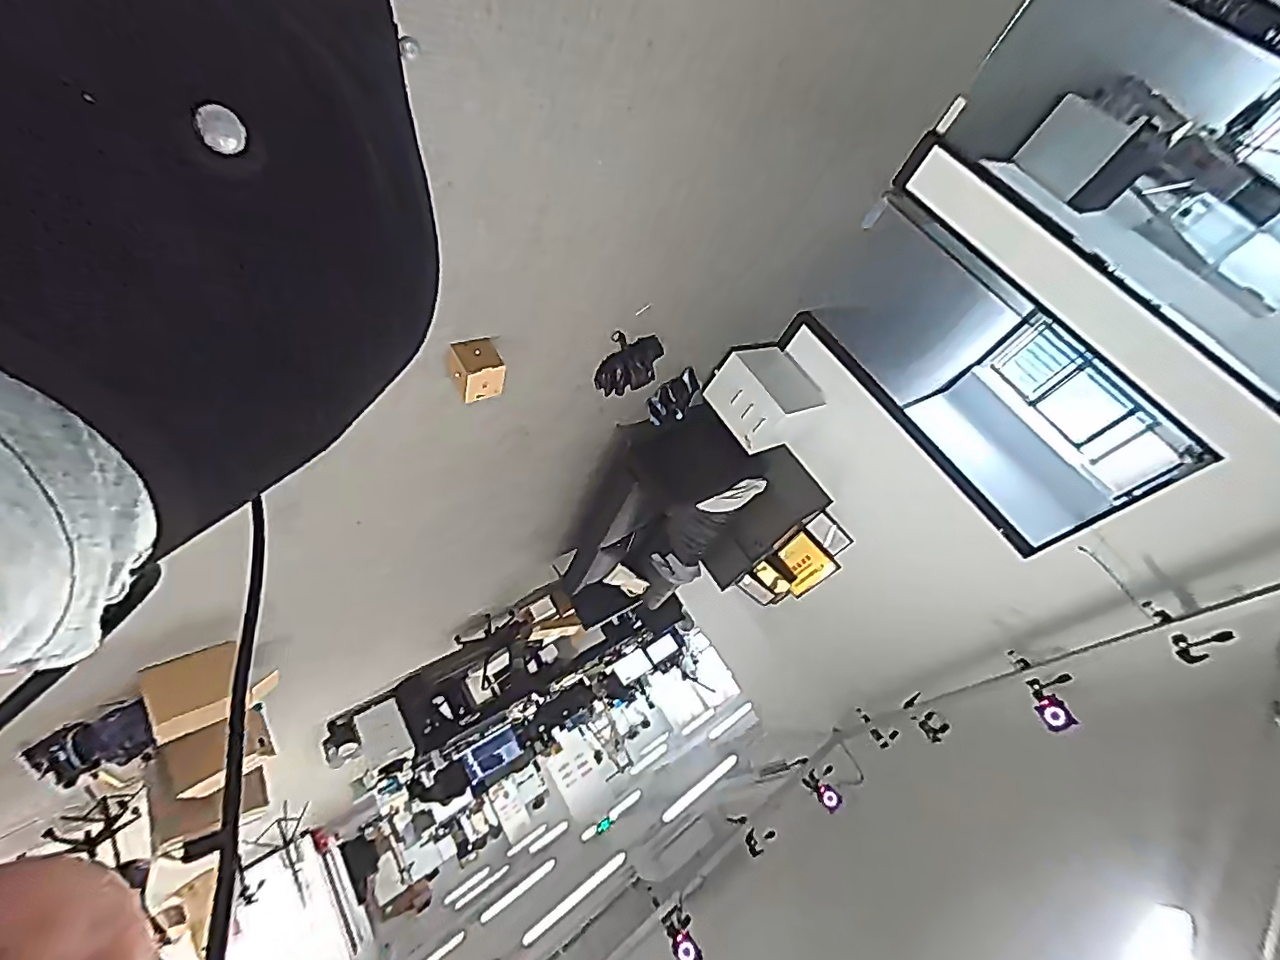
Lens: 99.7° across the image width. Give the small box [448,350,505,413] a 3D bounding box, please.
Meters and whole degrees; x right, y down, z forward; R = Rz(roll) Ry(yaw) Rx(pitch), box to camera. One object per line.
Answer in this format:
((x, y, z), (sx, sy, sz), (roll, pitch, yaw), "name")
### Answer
((-0.671, -0.410, 2.207), (0.168, 0.176, 0.179), (-23, 156, -33), "small box")
